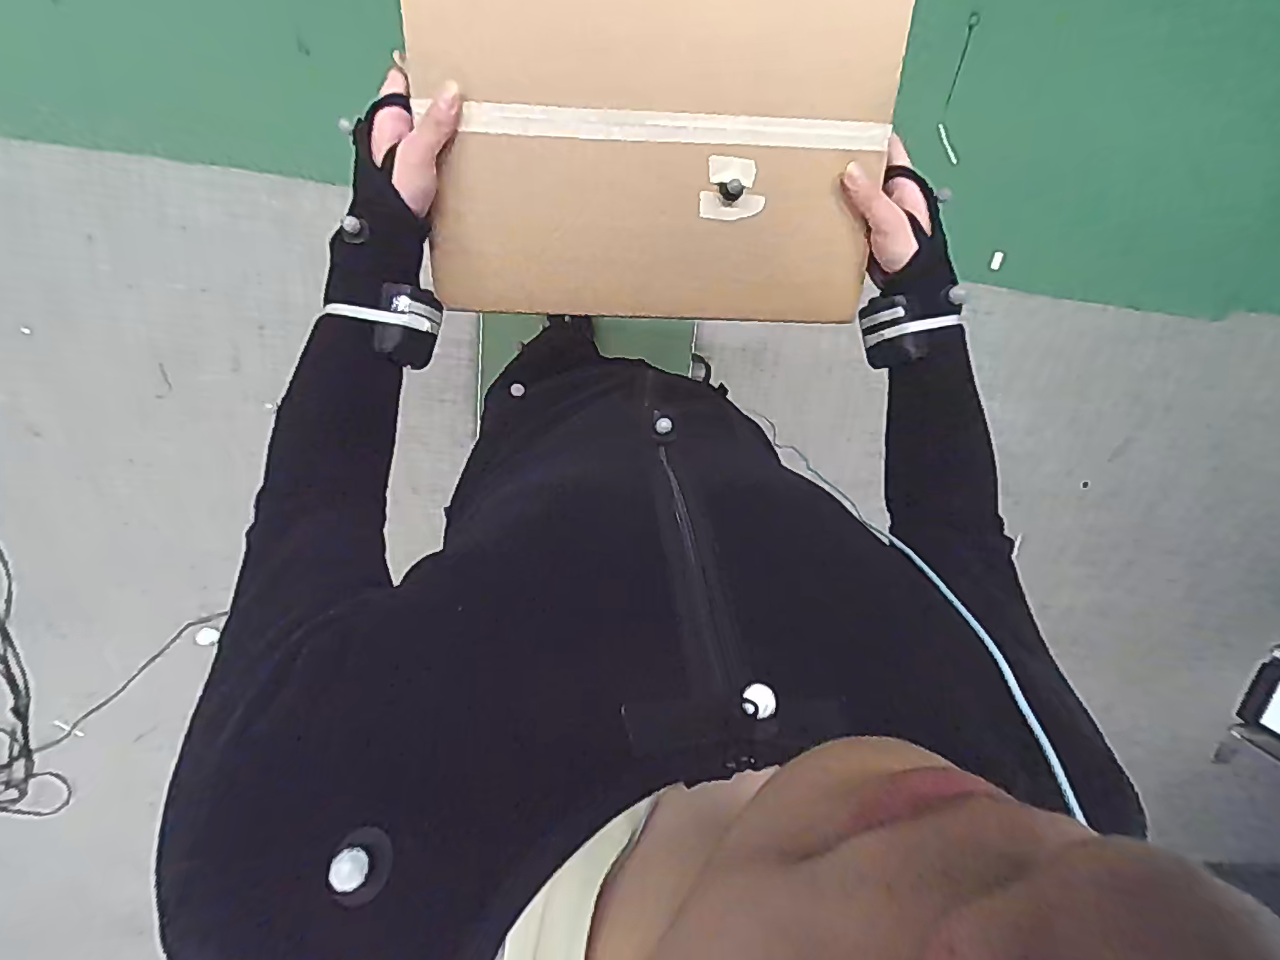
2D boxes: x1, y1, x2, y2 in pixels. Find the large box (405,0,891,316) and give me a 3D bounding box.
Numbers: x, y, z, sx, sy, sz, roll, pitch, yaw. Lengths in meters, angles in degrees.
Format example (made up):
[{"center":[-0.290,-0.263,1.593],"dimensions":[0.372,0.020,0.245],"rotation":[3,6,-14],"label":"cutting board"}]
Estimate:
[{"center":[-0.002,-0.363,0.610],"dimensions":[0.408,0.320,0.320],"rotation":[0,114,-4],"label":"large box"}]
